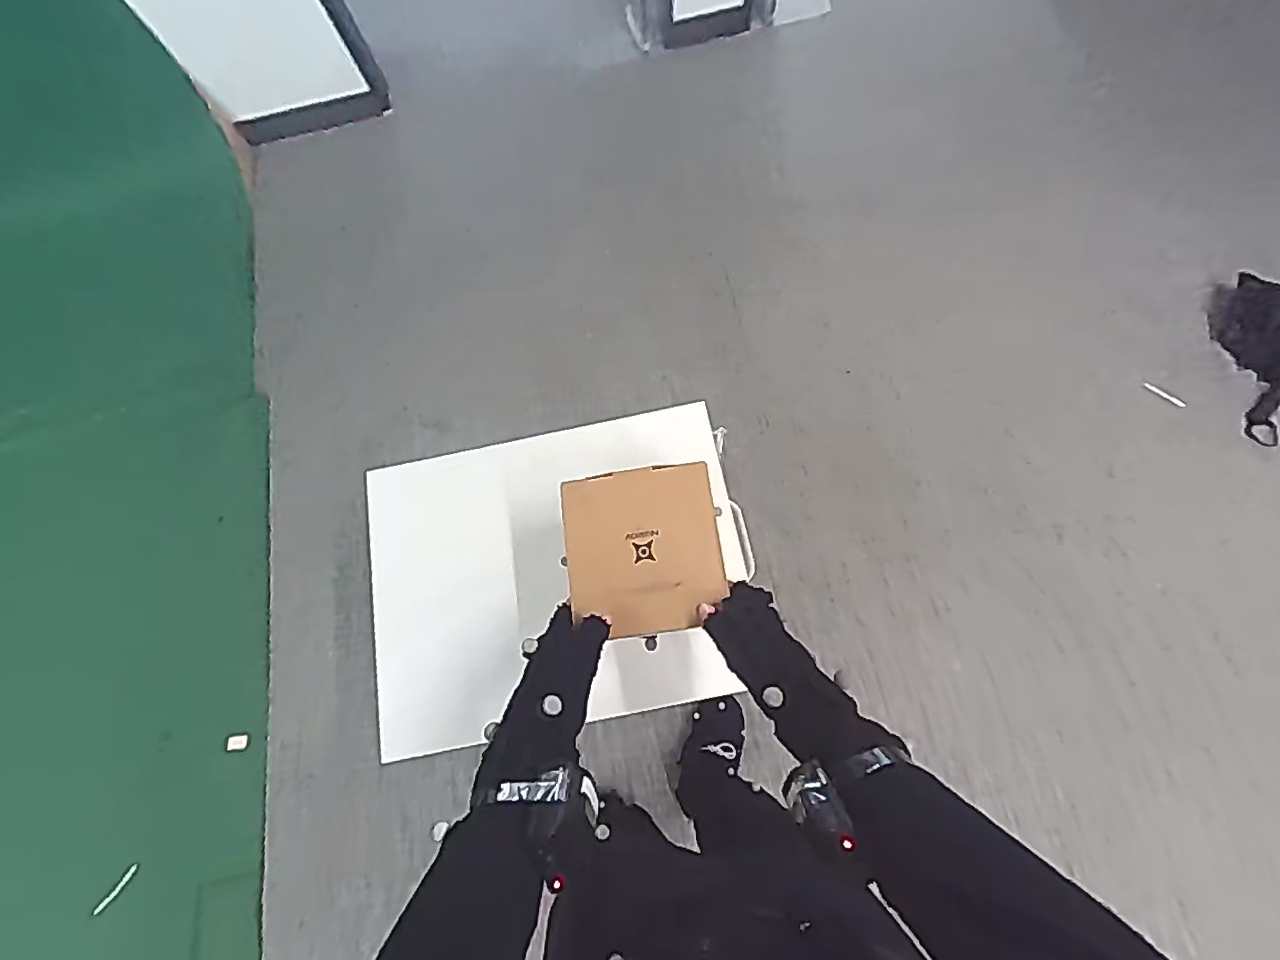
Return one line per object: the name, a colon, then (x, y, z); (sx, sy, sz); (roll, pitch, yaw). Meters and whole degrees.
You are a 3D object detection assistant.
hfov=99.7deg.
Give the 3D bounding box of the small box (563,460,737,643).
small box: (0.010, 0.093, 0.639); (0.168, 0.176, 0.179); (-9, 73, 1)
